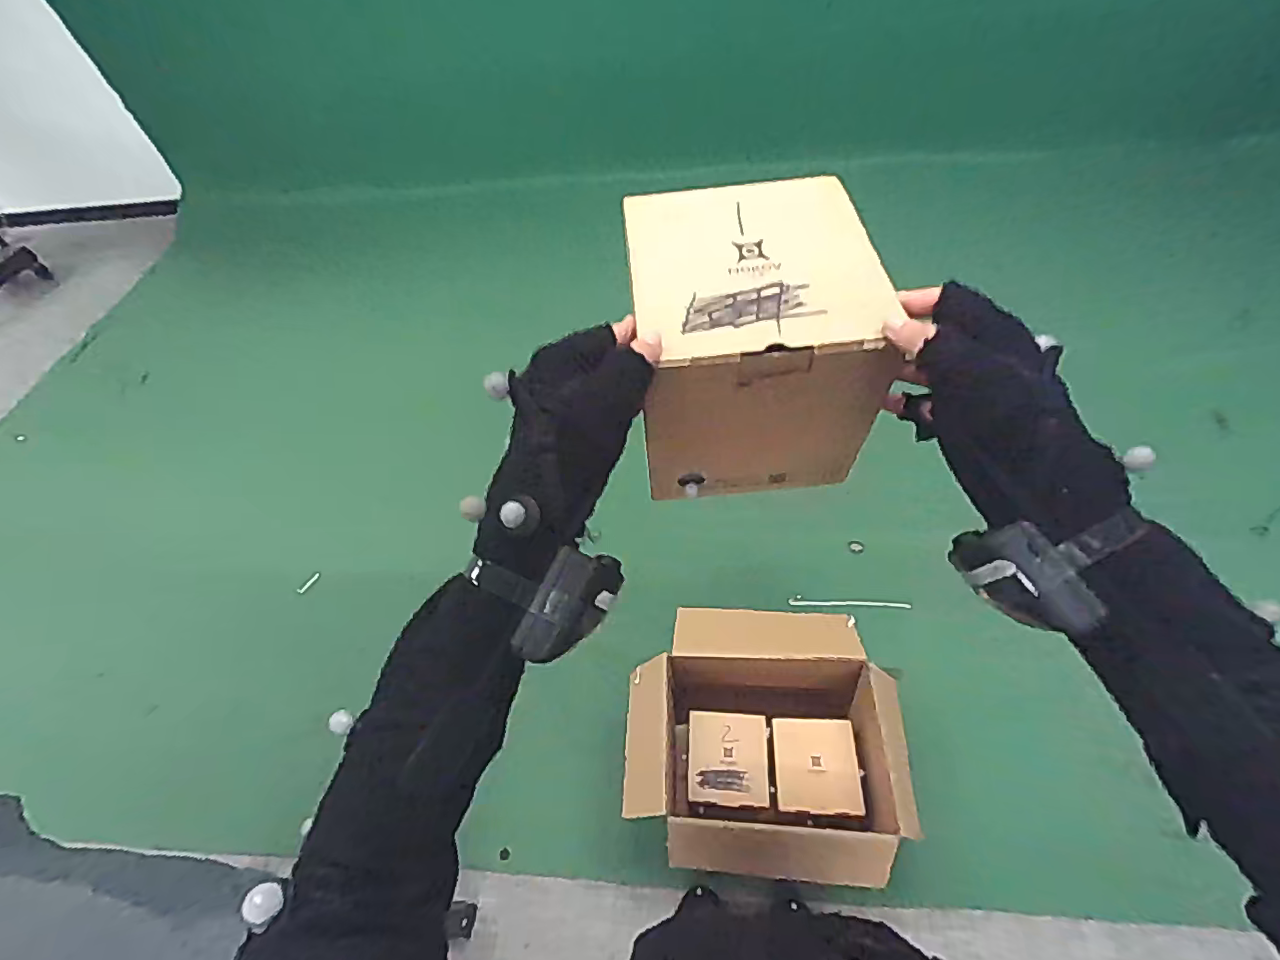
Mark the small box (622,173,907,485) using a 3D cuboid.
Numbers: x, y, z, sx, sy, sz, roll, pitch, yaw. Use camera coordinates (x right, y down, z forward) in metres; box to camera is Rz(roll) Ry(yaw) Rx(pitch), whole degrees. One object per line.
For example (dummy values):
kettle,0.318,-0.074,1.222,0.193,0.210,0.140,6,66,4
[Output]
small box,0.078,-0.106,0.429,0.168,0.176,0.179,-5,57,1
